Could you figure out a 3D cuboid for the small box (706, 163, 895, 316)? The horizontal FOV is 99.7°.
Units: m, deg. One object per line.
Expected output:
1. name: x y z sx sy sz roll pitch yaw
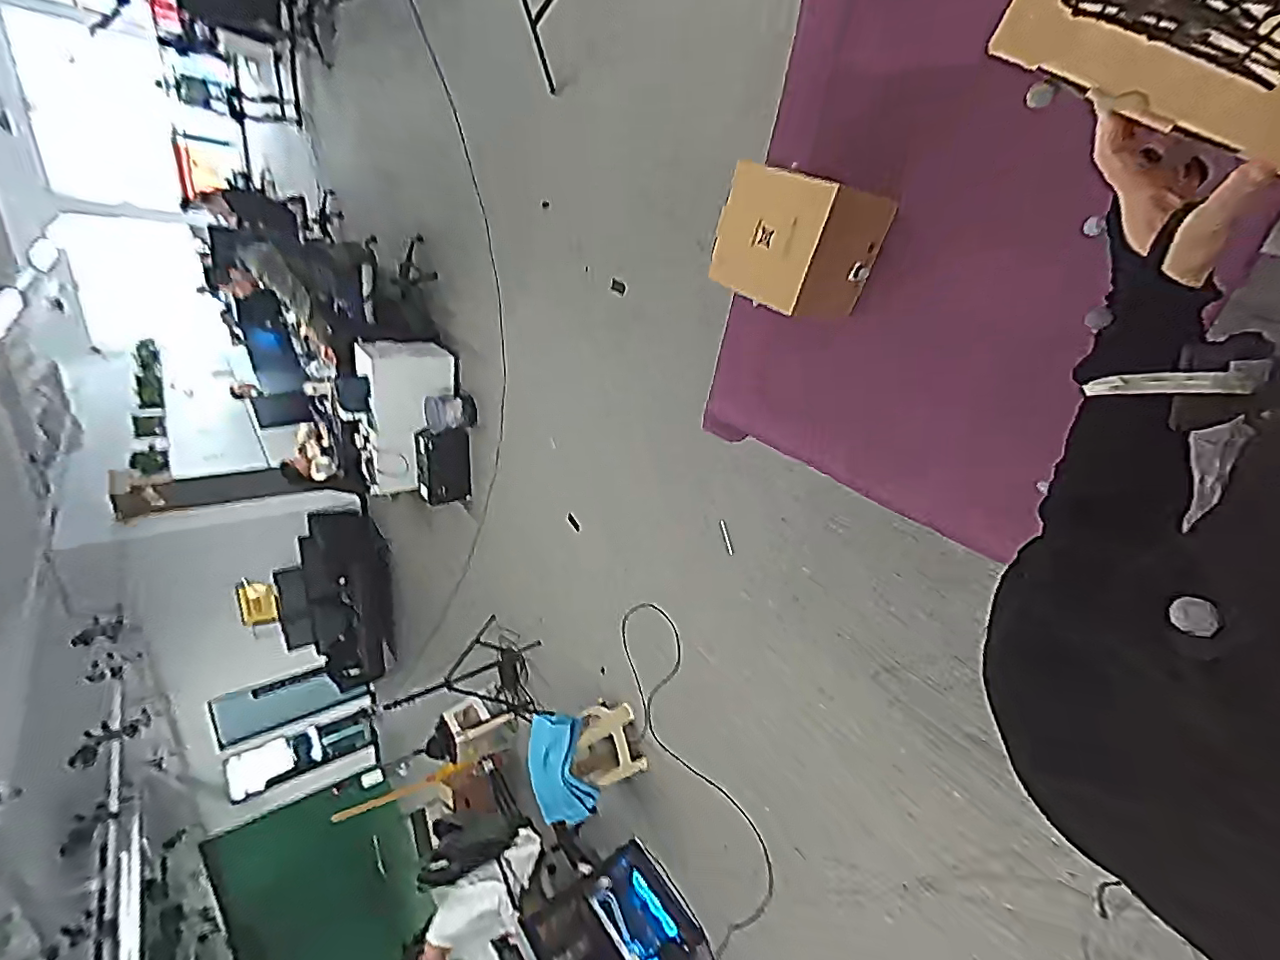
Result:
1. small box: 0.233 -0.348 0.799 0.179 0.176 0.168 40 129 36
